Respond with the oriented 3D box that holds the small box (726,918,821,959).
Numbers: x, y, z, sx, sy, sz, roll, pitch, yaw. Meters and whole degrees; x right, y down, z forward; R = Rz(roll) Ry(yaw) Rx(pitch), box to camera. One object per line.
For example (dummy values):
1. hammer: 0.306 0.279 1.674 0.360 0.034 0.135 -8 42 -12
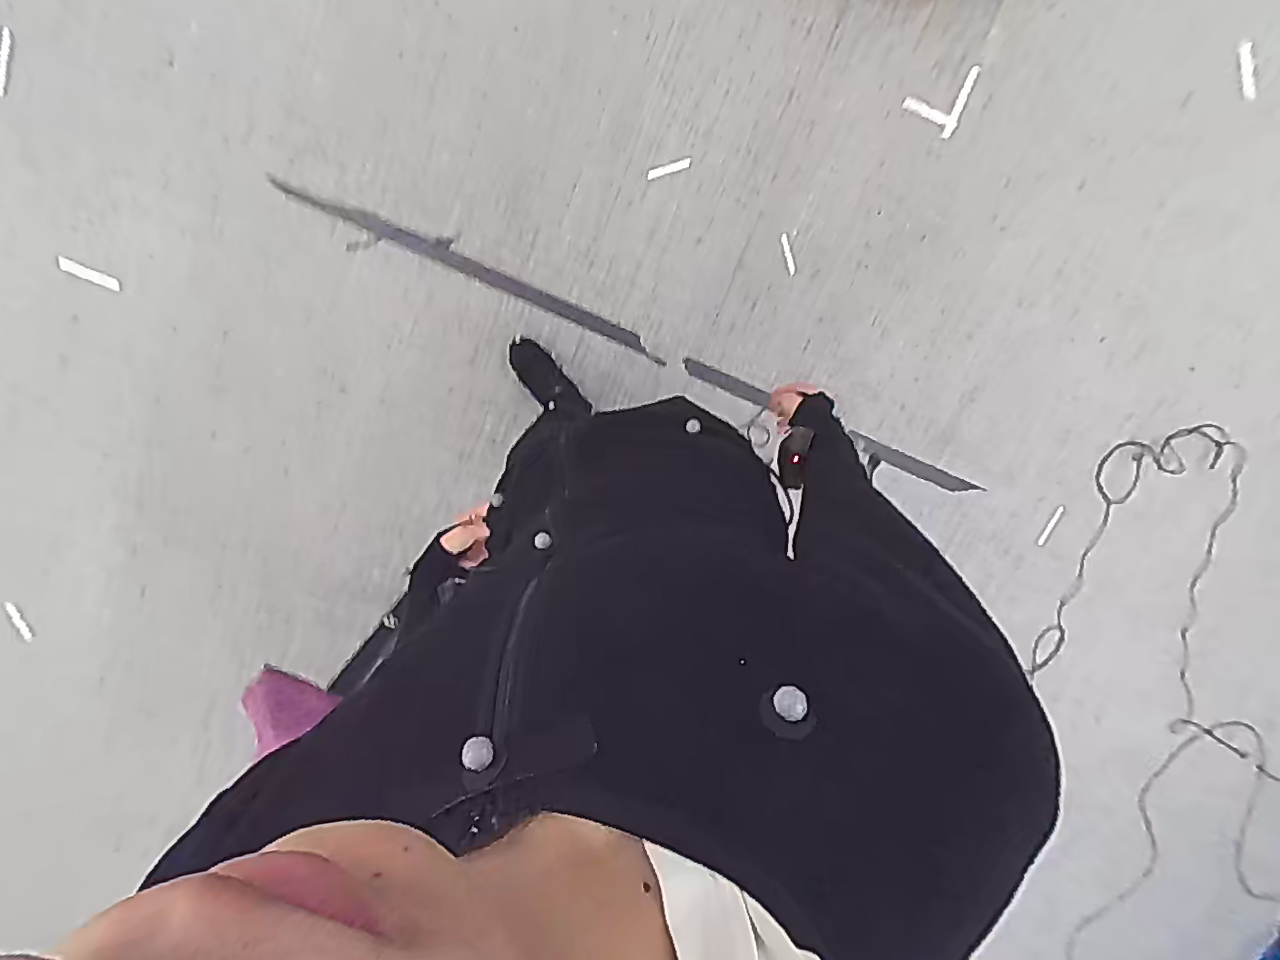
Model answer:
1. small box: 0.268 1.025 1.062 0.168 0.176 0.179 18 102 -5
